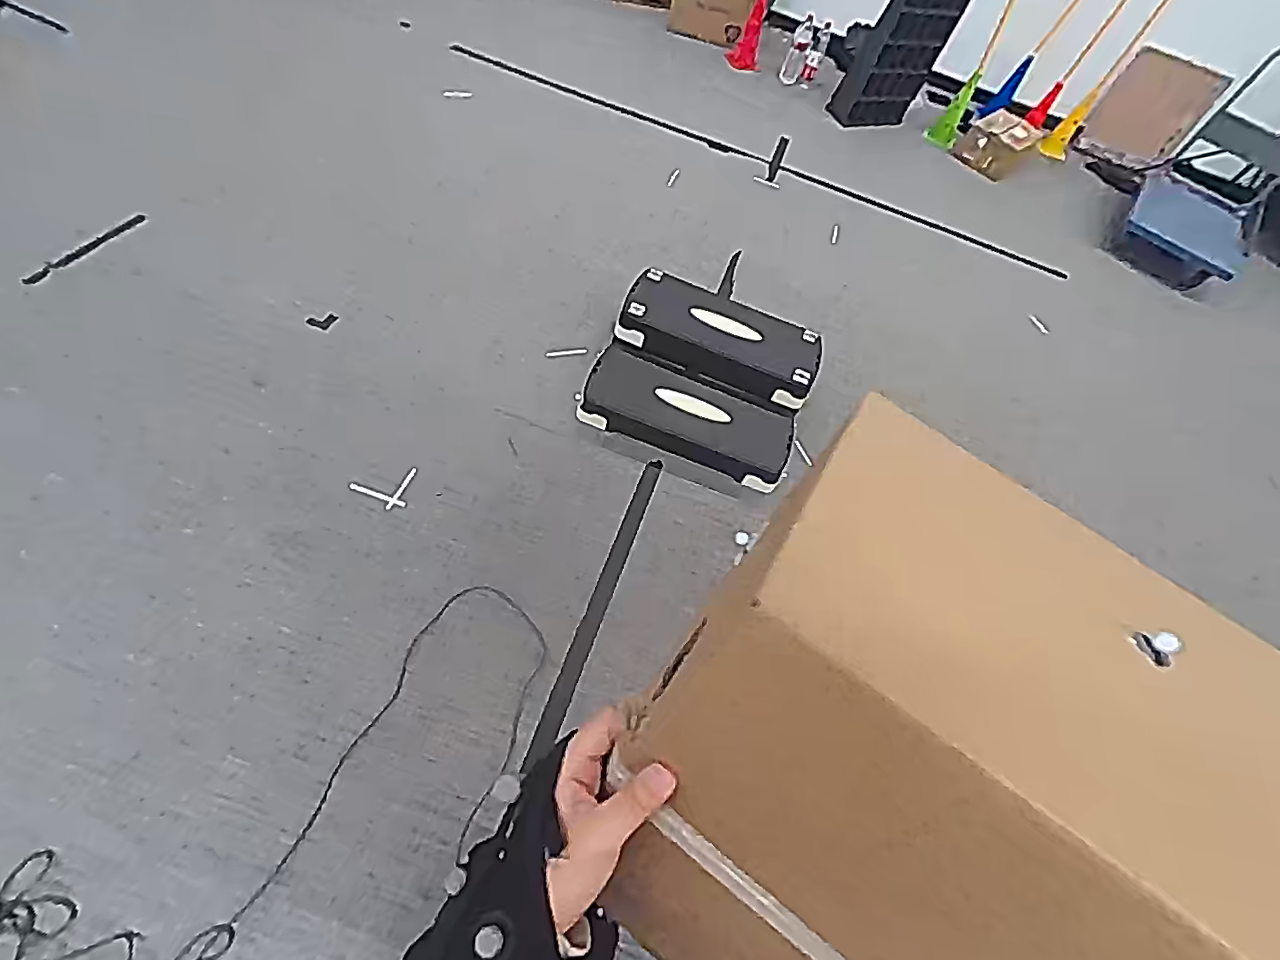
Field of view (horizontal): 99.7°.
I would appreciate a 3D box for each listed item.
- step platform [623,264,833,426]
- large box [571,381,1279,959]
[{"bbox_3d":[0.296,-0.463,1.823,0.684,0.204,0.286,27,57,3],"label":"step platform"},{"bbox_3d":[0.232,0.190,0.371,0.408,0.320,0.320,36,38,11],"label":"large box"}]
